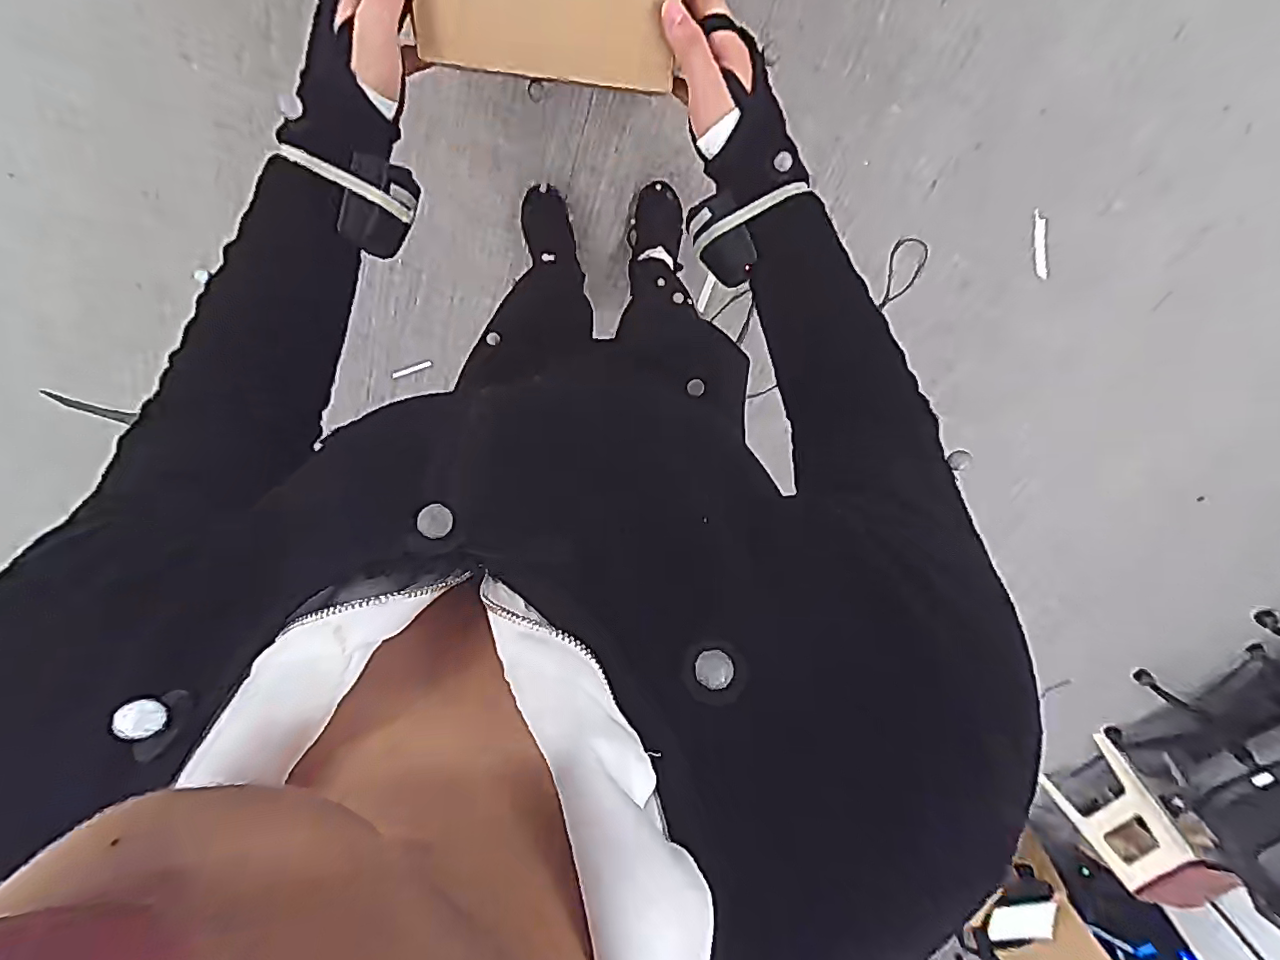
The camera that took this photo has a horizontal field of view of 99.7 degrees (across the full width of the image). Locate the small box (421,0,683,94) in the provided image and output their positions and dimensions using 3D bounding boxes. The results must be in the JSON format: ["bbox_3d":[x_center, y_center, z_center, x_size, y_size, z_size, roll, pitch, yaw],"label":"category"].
[{"bbox_3d":[-0.056,-0.399,0.403,0.179,0.176,0.168,4,125,-6],"label":"small box"}]
